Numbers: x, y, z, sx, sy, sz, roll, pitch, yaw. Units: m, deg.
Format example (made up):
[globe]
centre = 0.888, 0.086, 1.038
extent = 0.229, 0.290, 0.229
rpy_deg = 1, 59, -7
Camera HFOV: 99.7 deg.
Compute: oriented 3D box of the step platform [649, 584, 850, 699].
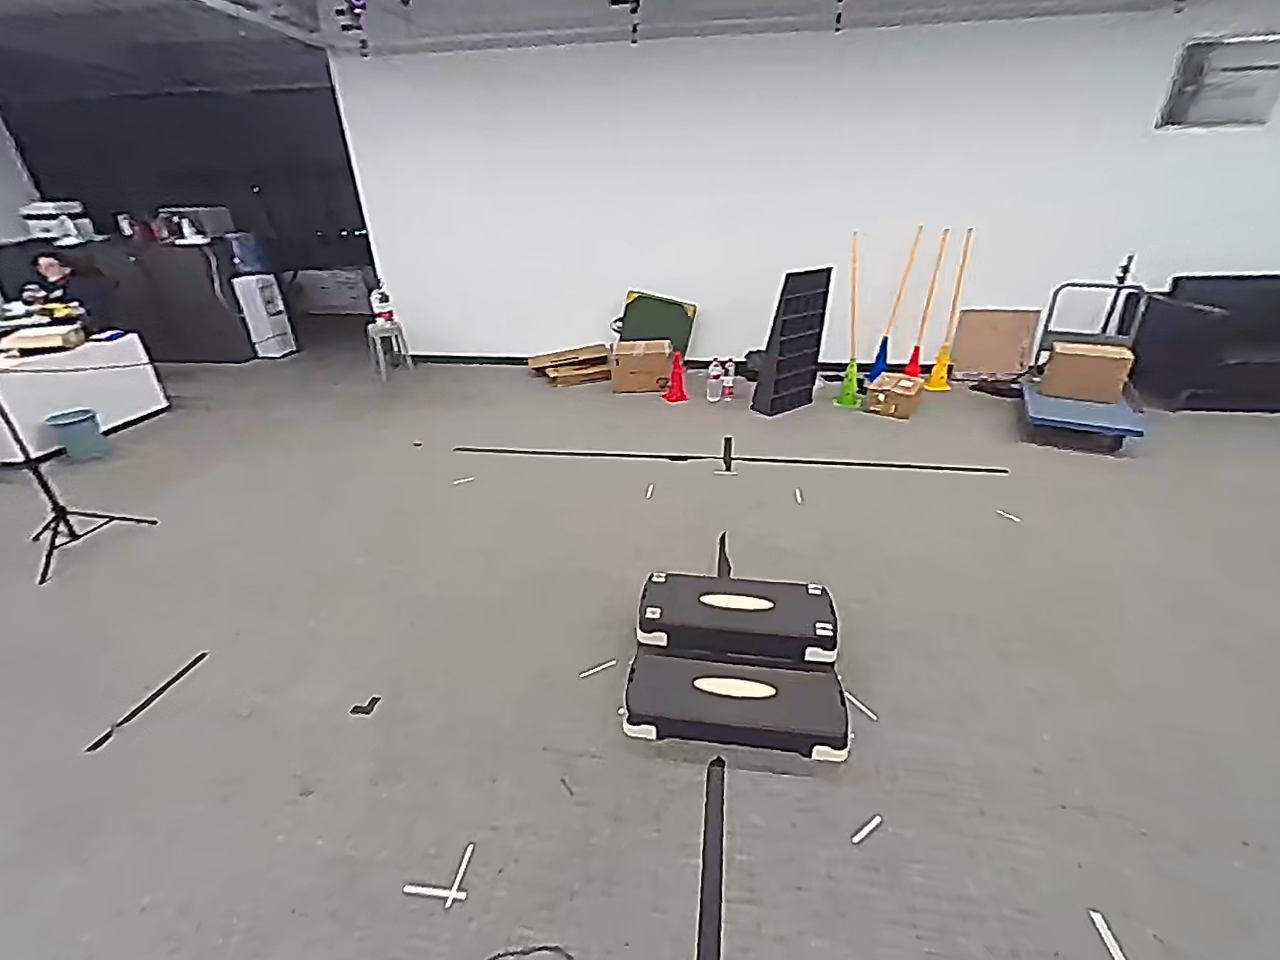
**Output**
[step platform]
centre = 0.377, 0.554, 1.909
extent = 0.684, 0.204, 0.286
rpy_deg = 5, 27, 12
